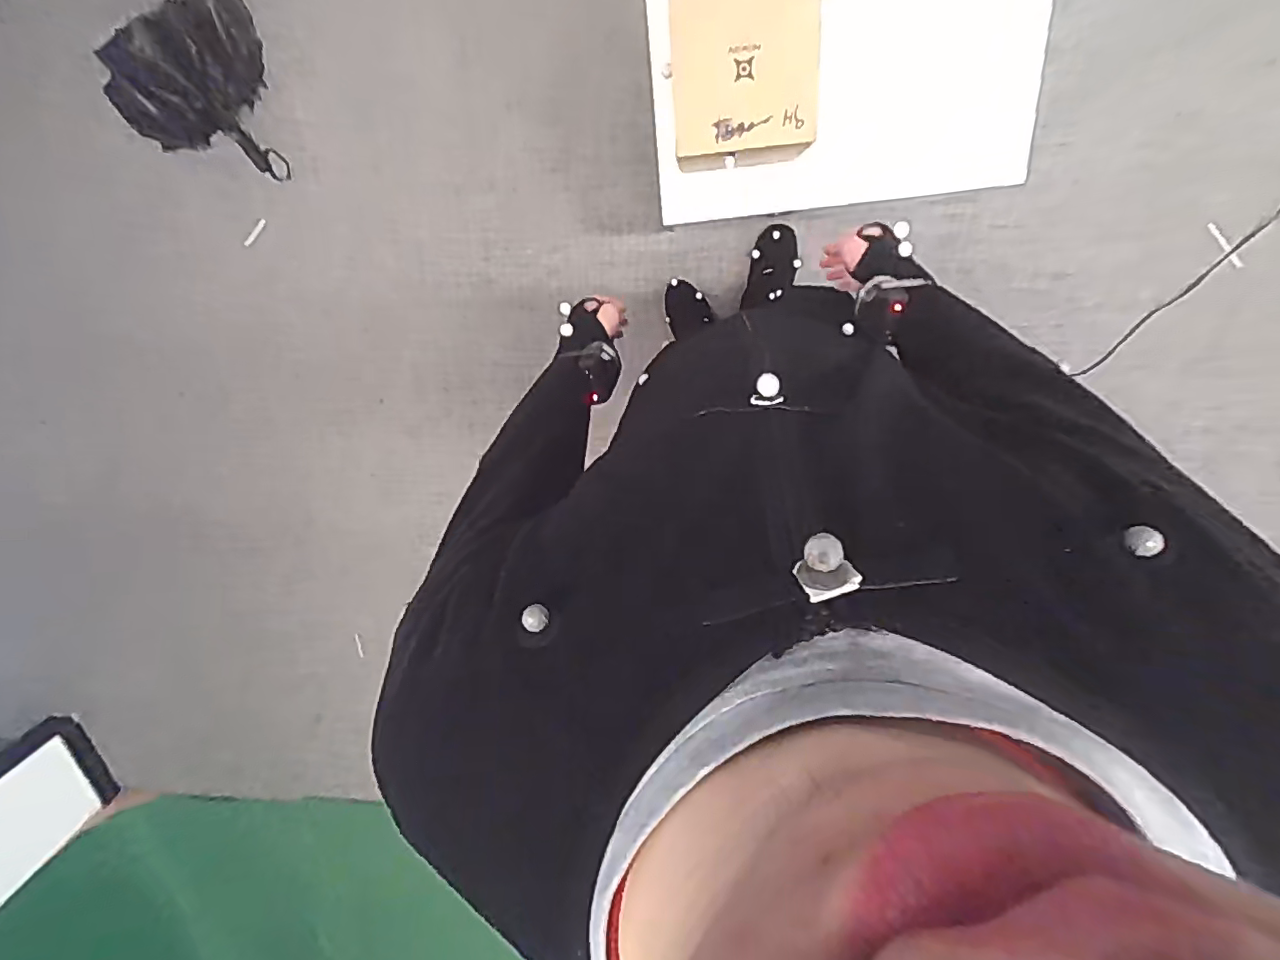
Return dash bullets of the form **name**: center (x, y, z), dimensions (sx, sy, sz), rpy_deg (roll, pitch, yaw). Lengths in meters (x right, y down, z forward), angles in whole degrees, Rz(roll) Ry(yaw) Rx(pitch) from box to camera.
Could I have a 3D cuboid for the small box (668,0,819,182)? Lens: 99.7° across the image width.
- **small box**: center (0.122, -0.493, 0.679), dimensions (0.168, 0.176, 0.179), rpy_deg (-3, 111, 7)
